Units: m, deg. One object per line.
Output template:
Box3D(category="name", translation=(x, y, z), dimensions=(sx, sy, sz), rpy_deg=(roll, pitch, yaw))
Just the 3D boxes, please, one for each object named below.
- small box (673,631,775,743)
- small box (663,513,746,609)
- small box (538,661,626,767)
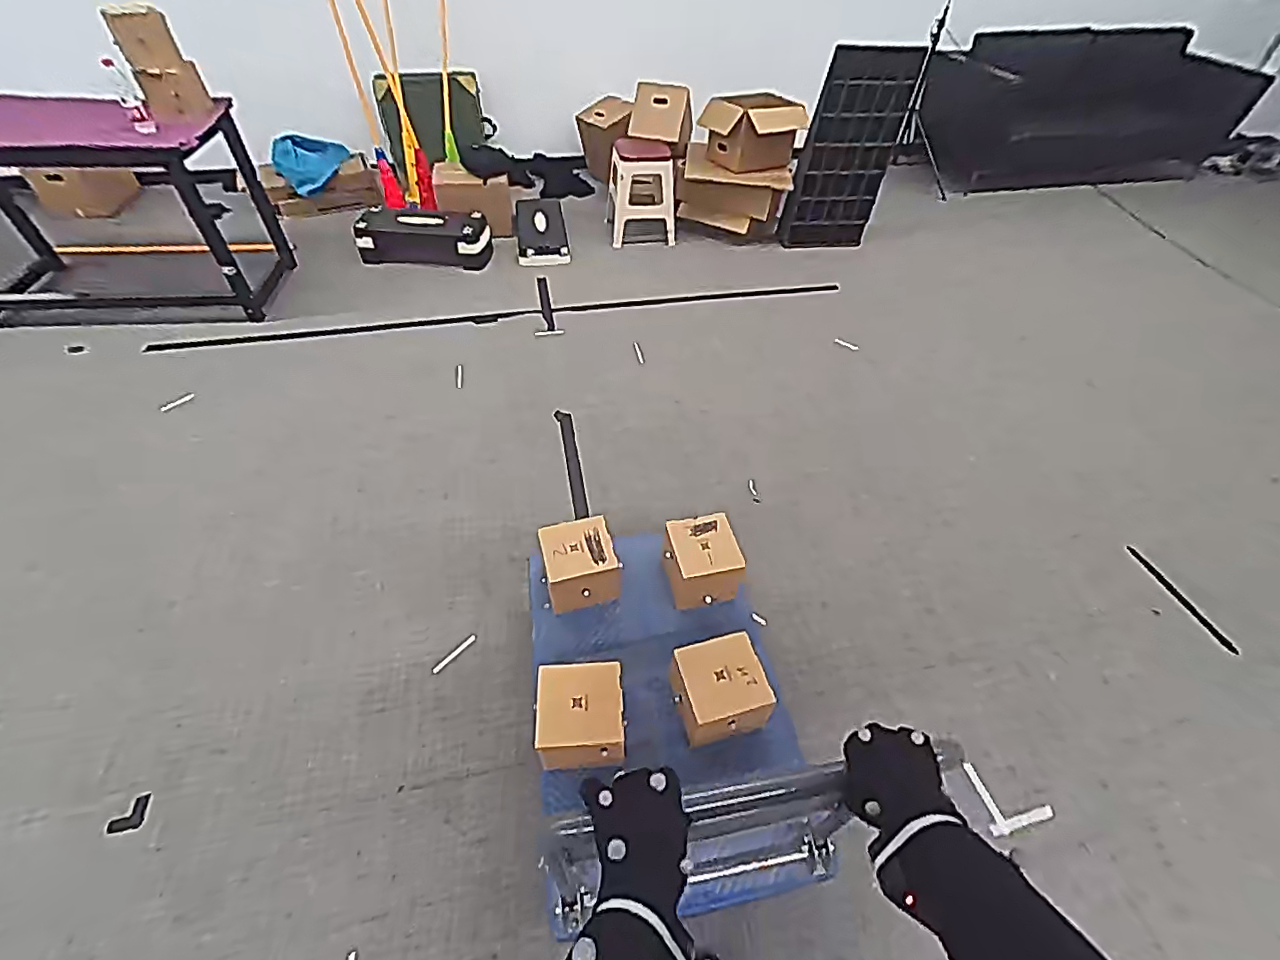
Box3D(category="small box", translation=(0.179, 0.470, 1.220), dimensions=(0.179, 0.176, 0.168), rpy_deg=(-11, 50, -11))
Box3D(category="small box", translation=(0.164, 0.217, 1.443), dimensions=(0.168, 0.176, 0.179), rpy_deg=(-9, 50, -10))
Box3D(category="small box", translation=(-0.122, 0.511, 1.176), dimensions=(0.179, 0.176, 0.168), rpy_deg=(-2, 49, -5))
